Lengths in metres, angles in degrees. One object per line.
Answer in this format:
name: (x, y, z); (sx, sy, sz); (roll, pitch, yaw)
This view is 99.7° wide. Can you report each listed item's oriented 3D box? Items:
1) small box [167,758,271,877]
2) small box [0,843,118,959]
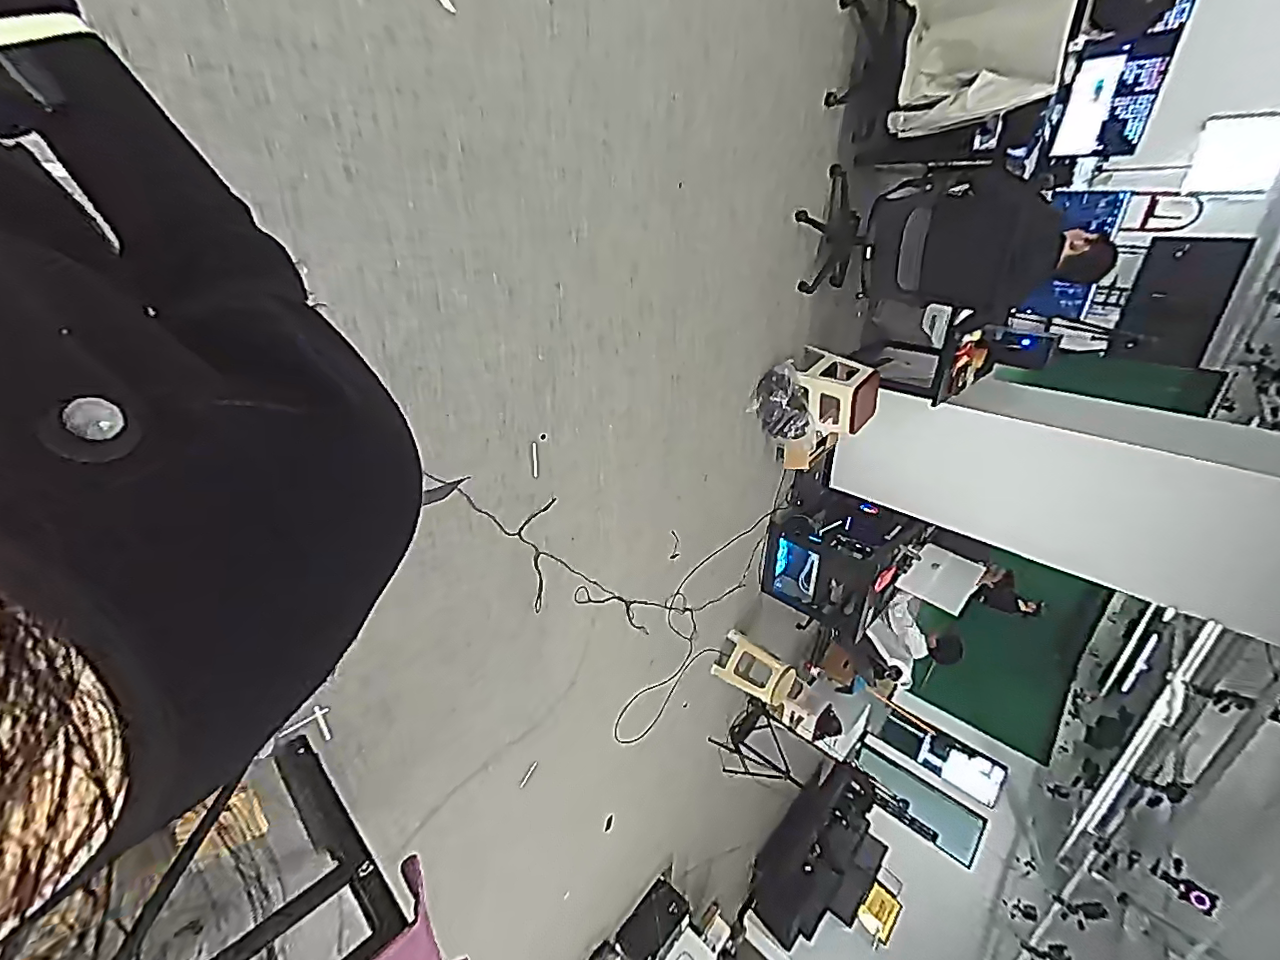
small box: (-1.127, 0.895, 1.449); (0.168, 0.176, 0.179); (-24, 126, -42)
small box: (-1.343, 0.986, 1.236); (0.168, 0.176, 0.179); (-26, 126, -41)
